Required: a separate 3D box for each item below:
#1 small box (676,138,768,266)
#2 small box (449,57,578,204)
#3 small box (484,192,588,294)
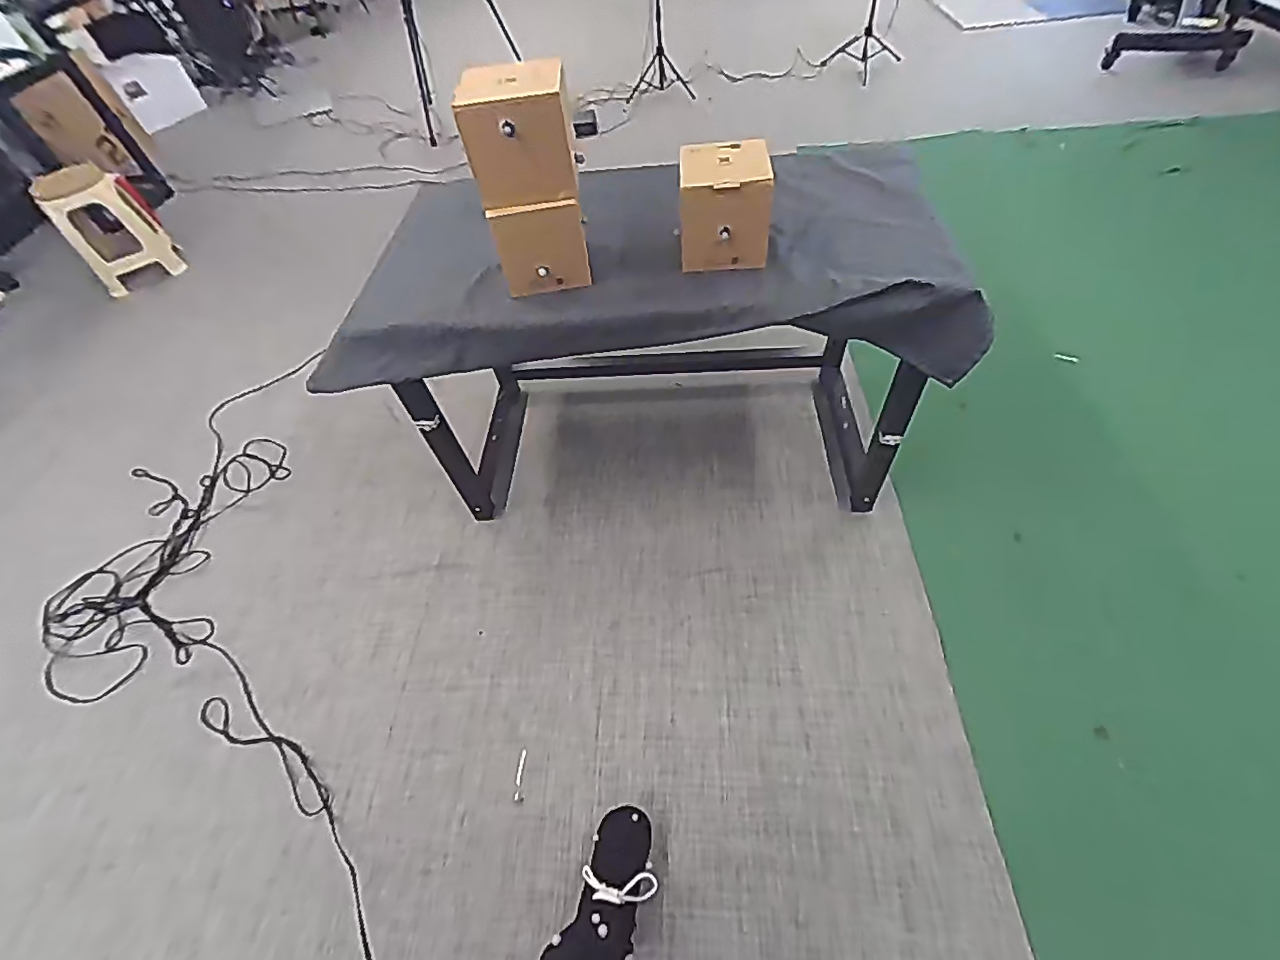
[{"bbox_3d":[0.157,-0.537,1.061,0.168,0.176,0.179,-2,54,6],"label":"small box"},{"bbox_3d":[-0.211,-0.606,0.949,0.179,0.176,0.168,-6,54,1],"label":"small box"},{"bbox_3d":[-0.200,-0.497,1.069,0.168,0.176,0.179,-10,53,-1],"label":"small box"}]
